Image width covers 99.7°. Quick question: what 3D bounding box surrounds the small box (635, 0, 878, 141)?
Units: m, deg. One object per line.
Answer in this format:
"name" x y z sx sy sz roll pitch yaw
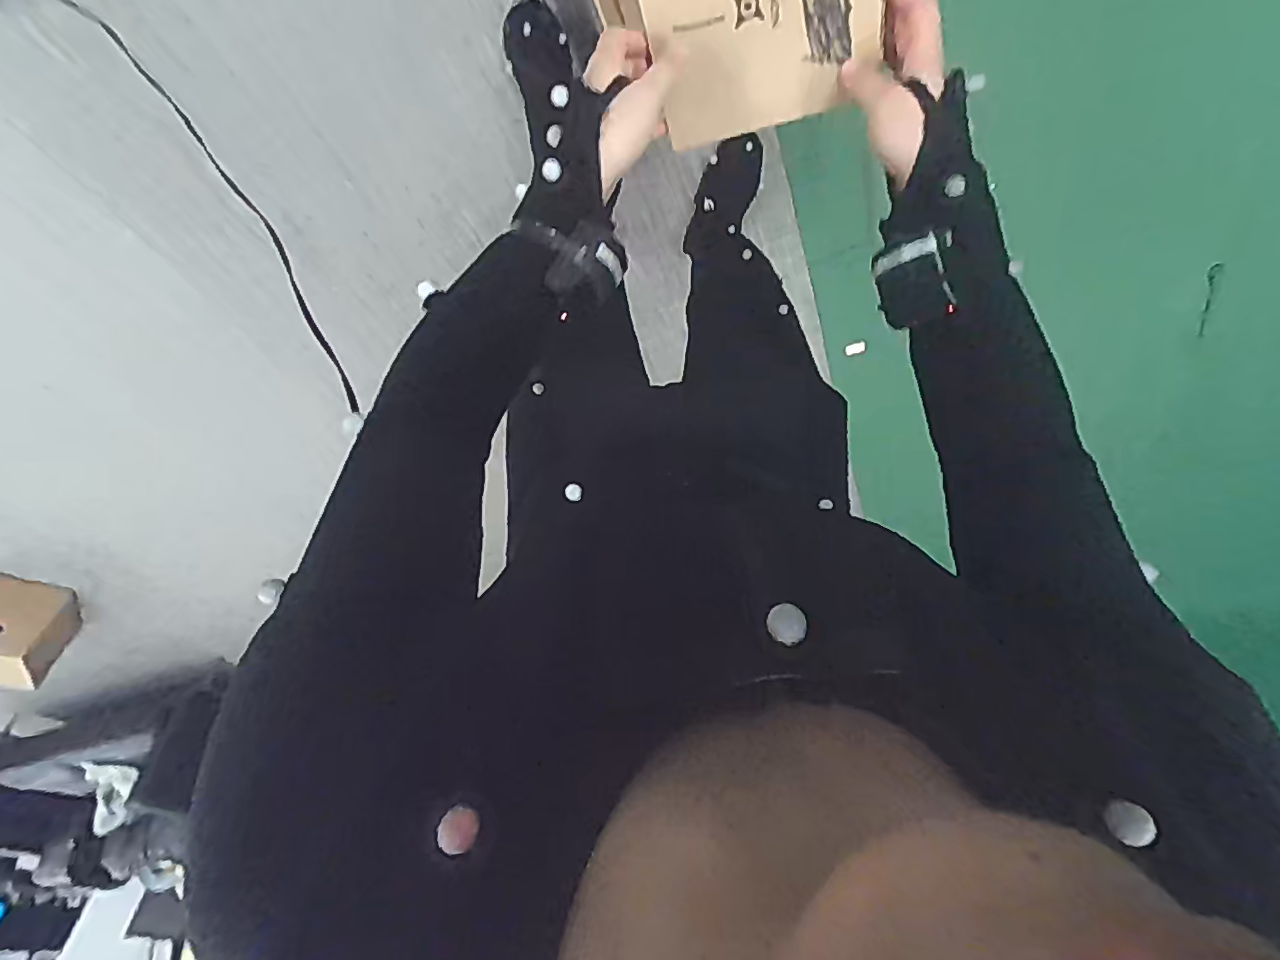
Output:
"small box" 0.093 -0.426 0.449 0.179 0.176 0.168 -5 143 18
